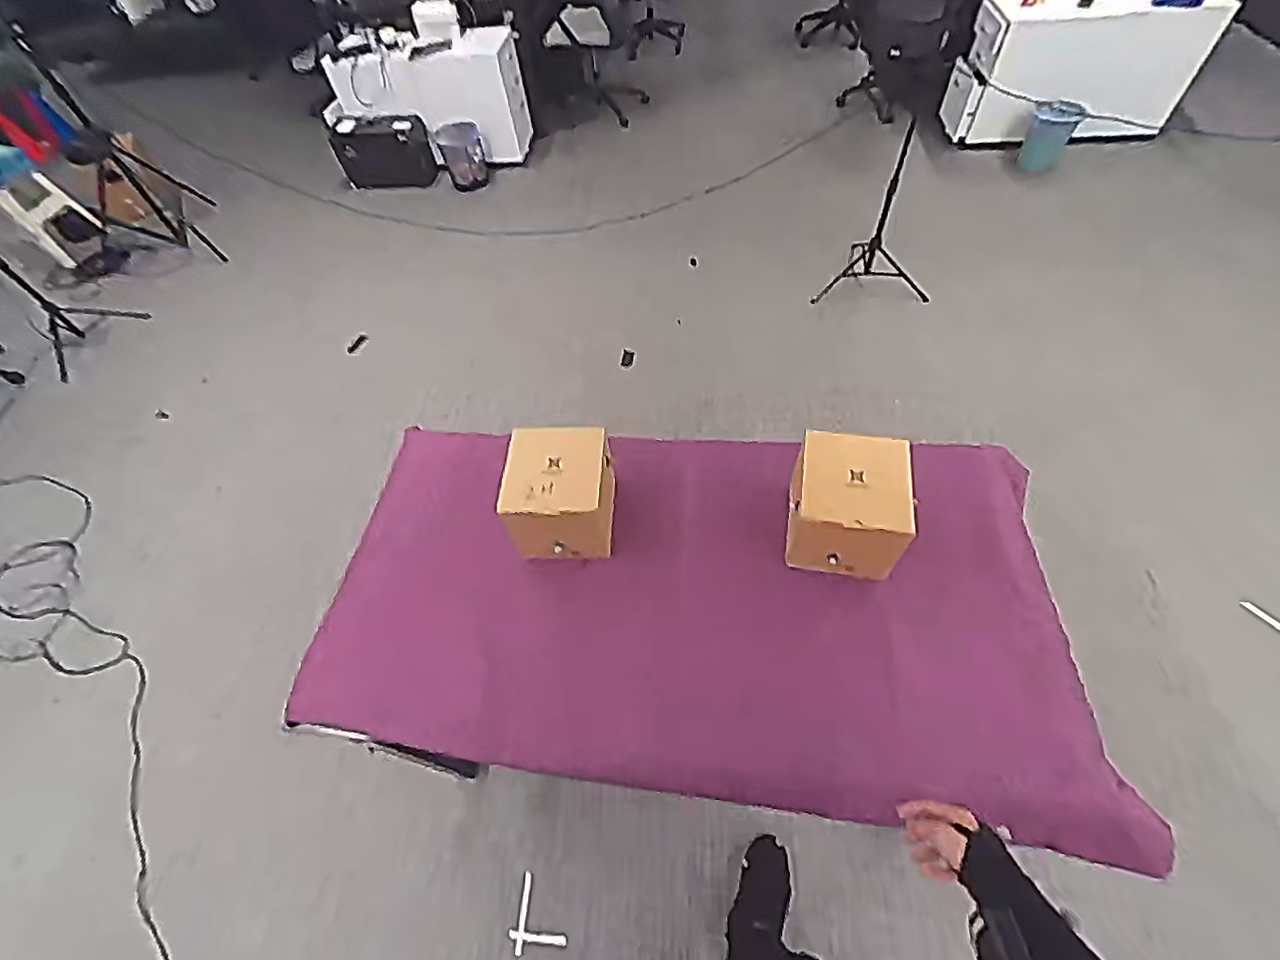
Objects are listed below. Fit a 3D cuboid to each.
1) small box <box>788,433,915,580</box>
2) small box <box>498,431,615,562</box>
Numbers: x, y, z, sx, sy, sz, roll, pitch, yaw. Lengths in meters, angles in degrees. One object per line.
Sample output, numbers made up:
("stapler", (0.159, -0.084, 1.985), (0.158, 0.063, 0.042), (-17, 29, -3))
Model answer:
("small box", (0.347, 0.046, 0.914), (0.168, 0.176, 0.179), (7, 57, 11))
("small box", (-0.138, 0.031, 0.972), (0.168, 0.176, 0.179), (-1, 55, 5))
